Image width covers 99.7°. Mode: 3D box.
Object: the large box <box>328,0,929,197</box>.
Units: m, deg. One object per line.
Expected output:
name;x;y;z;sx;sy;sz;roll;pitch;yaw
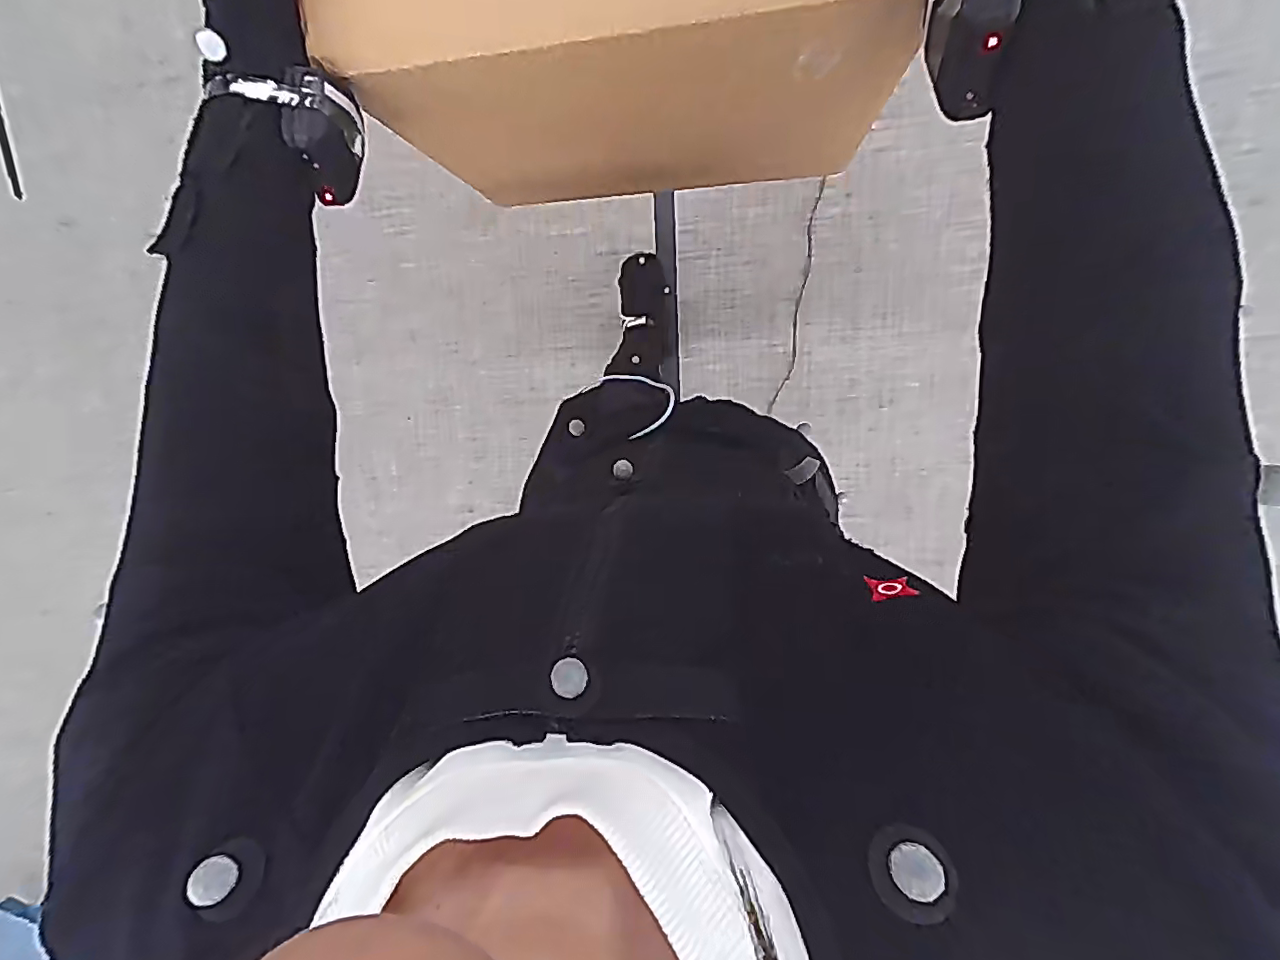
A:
large box;-0.002;-0.469;0.455;0.408;0.320;0.320;-2;102;8
